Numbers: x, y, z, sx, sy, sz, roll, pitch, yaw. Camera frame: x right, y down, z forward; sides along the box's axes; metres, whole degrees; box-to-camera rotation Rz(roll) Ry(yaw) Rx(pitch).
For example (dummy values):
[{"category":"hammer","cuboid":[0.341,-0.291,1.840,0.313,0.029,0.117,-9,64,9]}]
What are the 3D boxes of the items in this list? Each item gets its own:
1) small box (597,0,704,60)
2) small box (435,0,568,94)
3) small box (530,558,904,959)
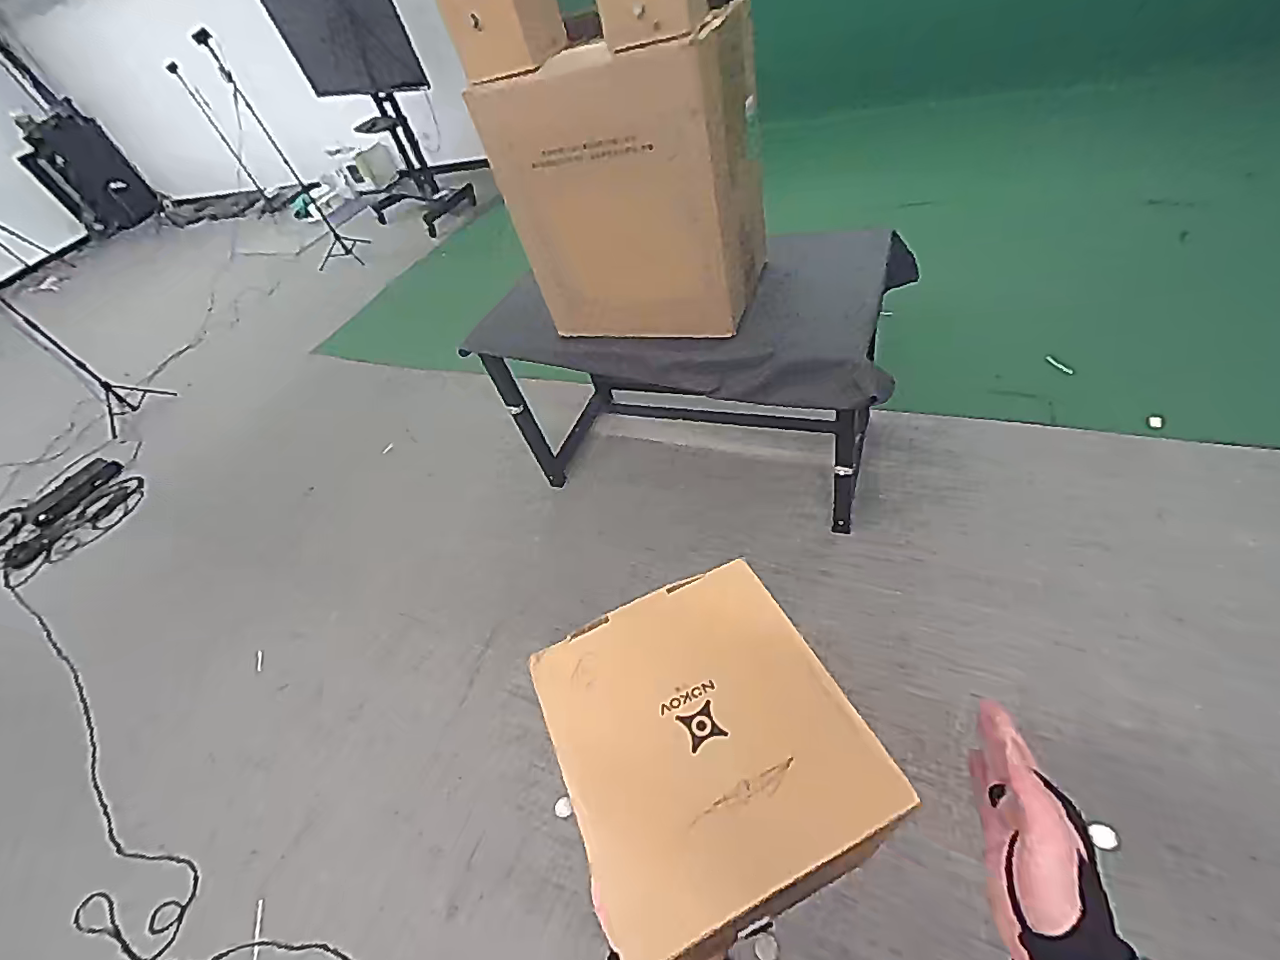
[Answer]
[{"category":"small box","cuboid":[0.018,-0.912,1.002,0.168,0.176,0.179,3,51,20]},{"category":"small box","cuboid":[-0.281,-0.940,1.130,0.179,0.176,0.168,5,52,26]},{"category":"small box","cuboid":[0.041,0.194,0.379,0.168,0.176,0.179,-23,47,-11]}]
